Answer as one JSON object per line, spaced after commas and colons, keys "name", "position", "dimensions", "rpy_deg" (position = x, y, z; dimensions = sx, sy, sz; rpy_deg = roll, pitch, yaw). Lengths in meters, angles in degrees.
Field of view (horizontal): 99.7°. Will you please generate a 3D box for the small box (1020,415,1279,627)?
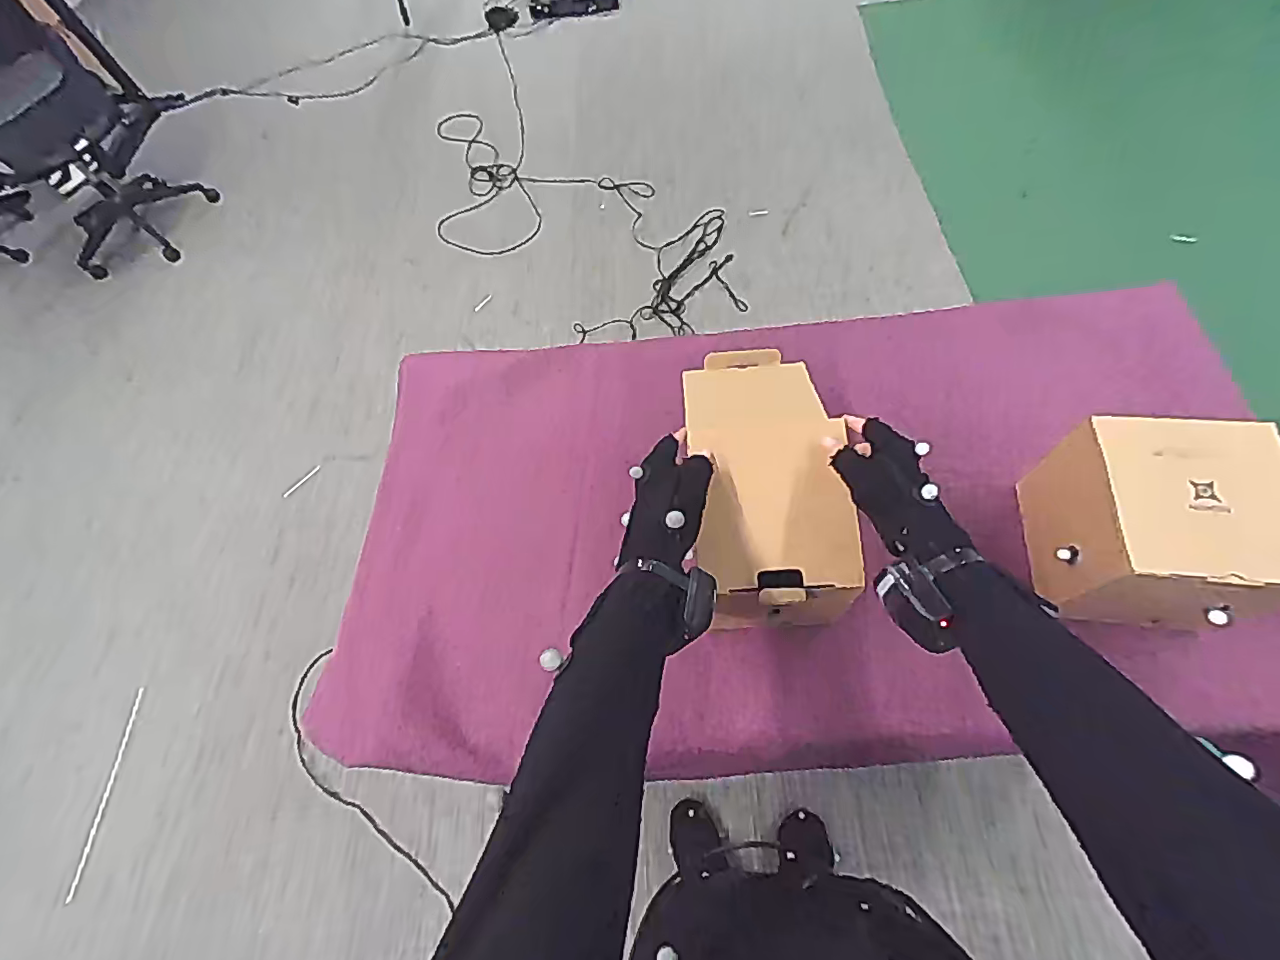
{"name": "small box", "position": [0.550, 0.051, 0.587], "dimensions": [0.168, 0.176, 0.179], "rpy_deg": [4, 63, 11]}
